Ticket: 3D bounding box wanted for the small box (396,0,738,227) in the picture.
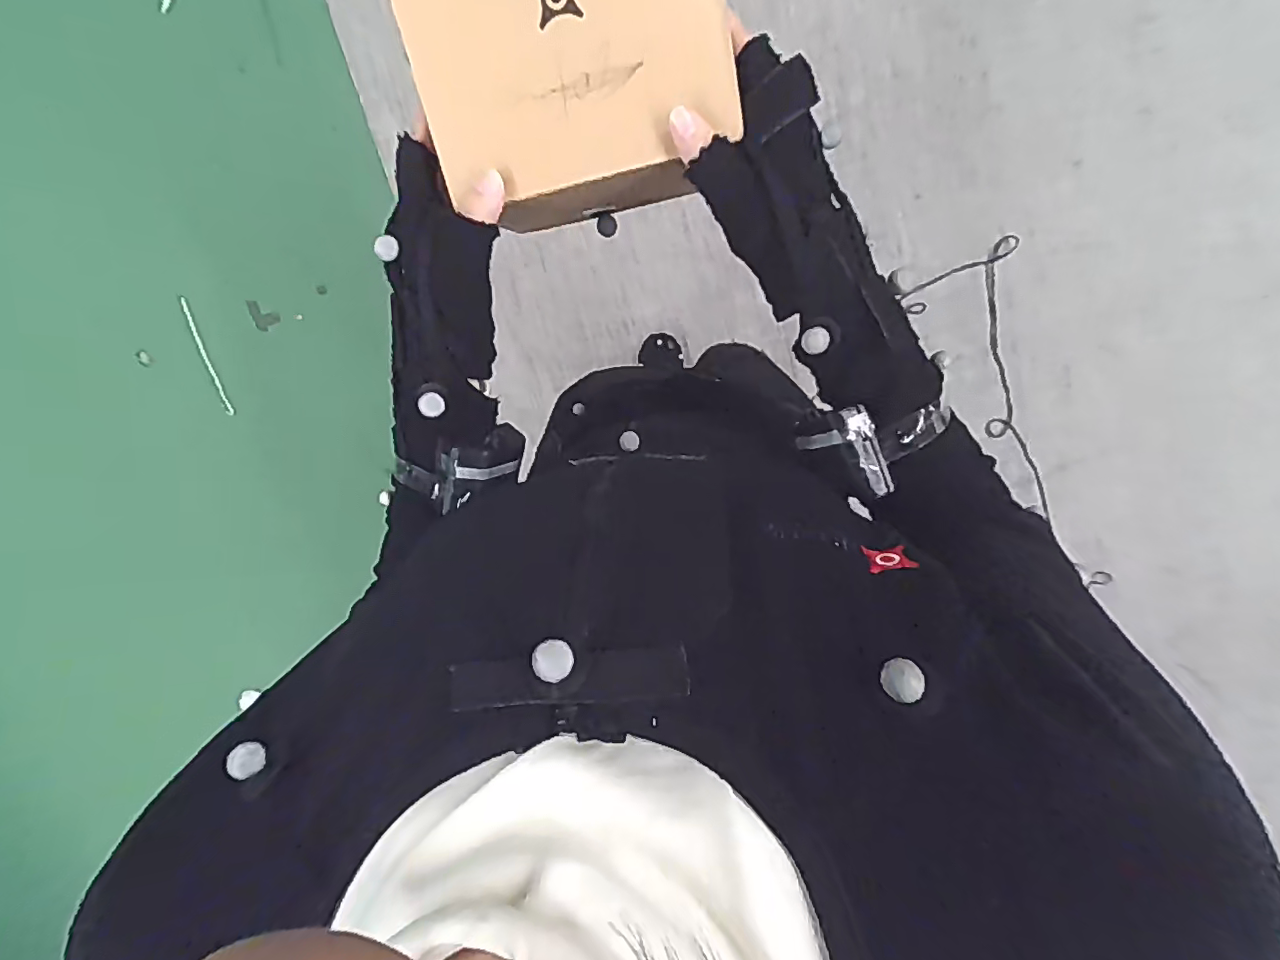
[{"bbox_3d":[-0.040,-0.278,0.345,0.168,0.176,0.179,-10,110,7],"label":"small box"}]
